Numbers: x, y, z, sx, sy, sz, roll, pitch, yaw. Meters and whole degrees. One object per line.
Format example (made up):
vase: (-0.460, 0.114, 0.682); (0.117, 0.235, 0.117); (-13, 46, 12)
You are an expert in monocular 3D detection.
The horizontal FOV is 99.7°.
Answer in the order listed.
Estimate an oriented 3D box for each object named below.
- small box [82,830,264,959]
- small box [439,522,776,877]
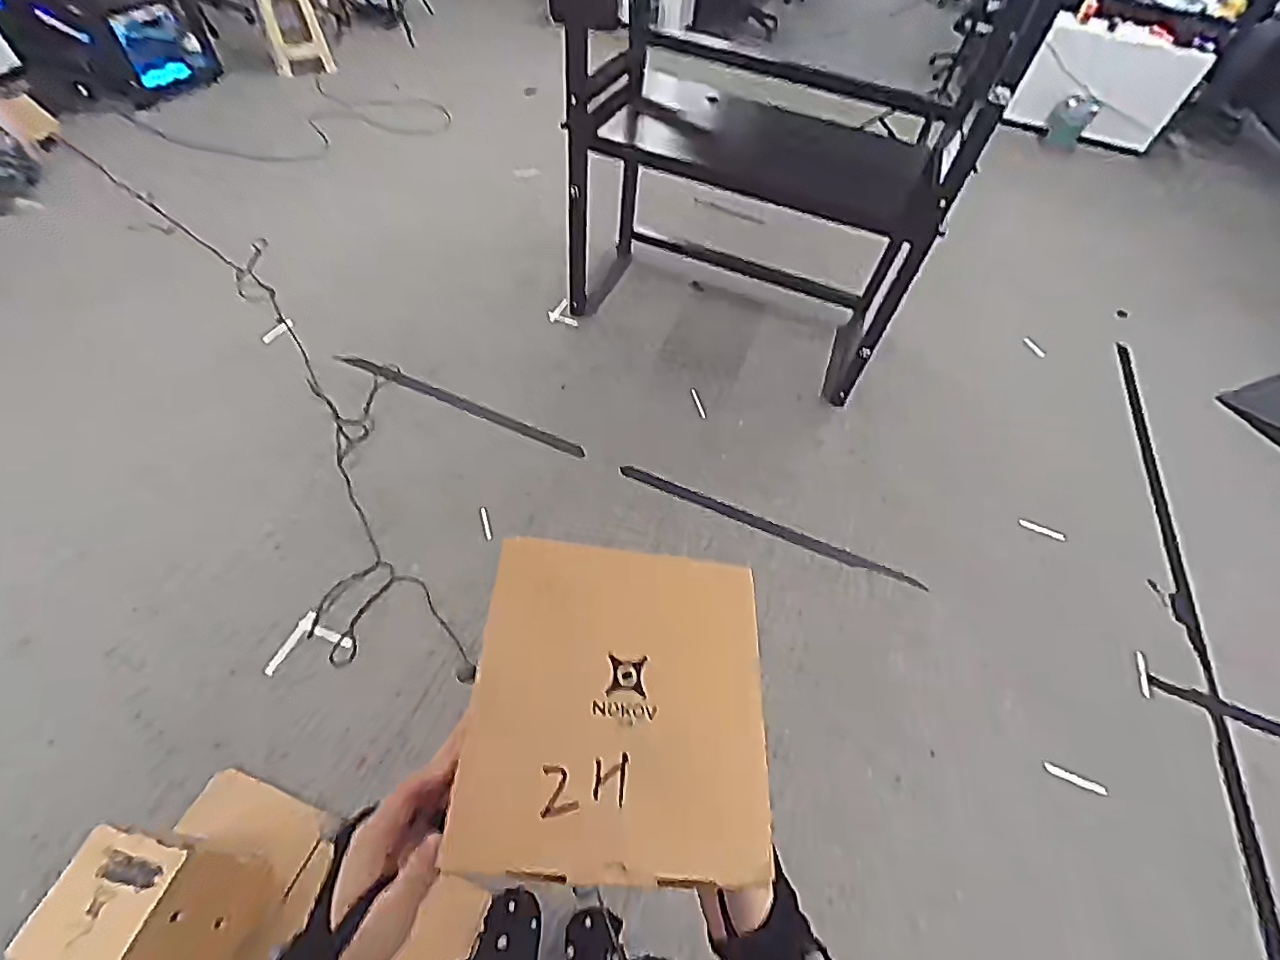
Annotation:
small box: (-0.861, 0.795, 1.026); (0.168, 0.176, 0.179); (17, 54, 5)
small box: (-0.024, 0.152, 0.366); (0.168, 0.176, 0.179); (8, 57, -7)
